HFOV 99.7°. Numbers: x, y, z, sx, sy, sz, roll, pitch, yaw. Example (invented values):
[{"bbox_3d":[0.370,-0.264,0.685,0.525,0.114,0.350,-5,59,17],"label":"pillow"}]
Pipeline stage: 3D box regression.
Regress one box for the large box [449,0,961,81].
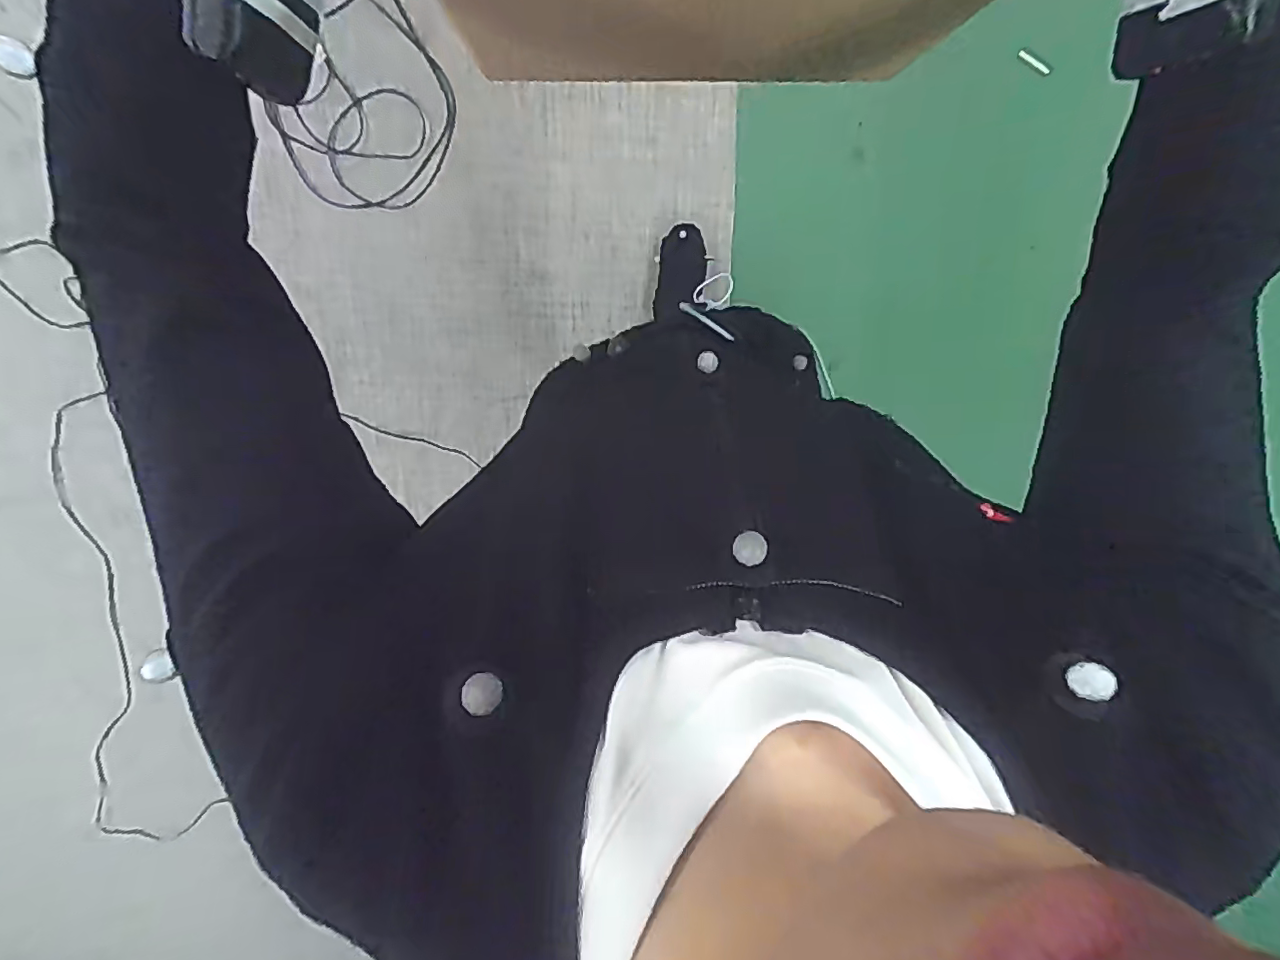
[{"bbox_3d":[0.050,-0.498,0.348,0.408,0.320,0.320,-2,109,-3],"label":"large box"}]
